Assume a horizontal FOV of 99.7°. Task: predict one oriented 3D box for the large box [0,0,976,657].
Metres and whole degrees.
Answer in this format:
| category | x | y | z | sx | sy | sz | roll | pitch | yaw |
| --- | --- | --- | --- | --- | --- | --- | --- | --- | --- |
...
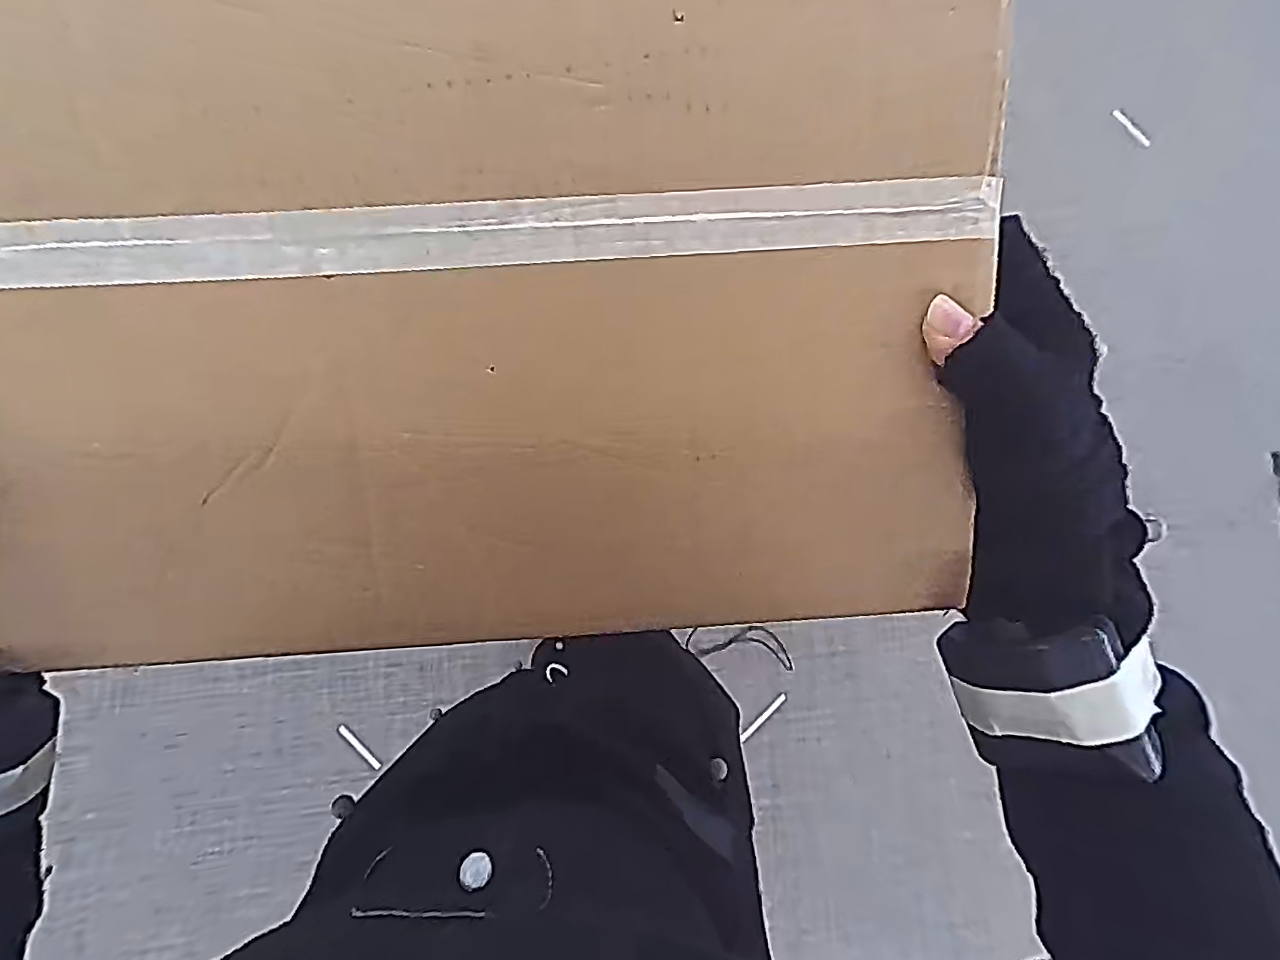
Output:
| category | x | y | z | sx | sy | sz | roll | pitch | yaw |
| --- | --- | --- | --- | --- | --- | --- | --- | --- | --- |
| large box | -0.079 | -0.116 | 0.350 | 0.408 | 0.320 | 0.320 | -3 | 102 | -2 |
